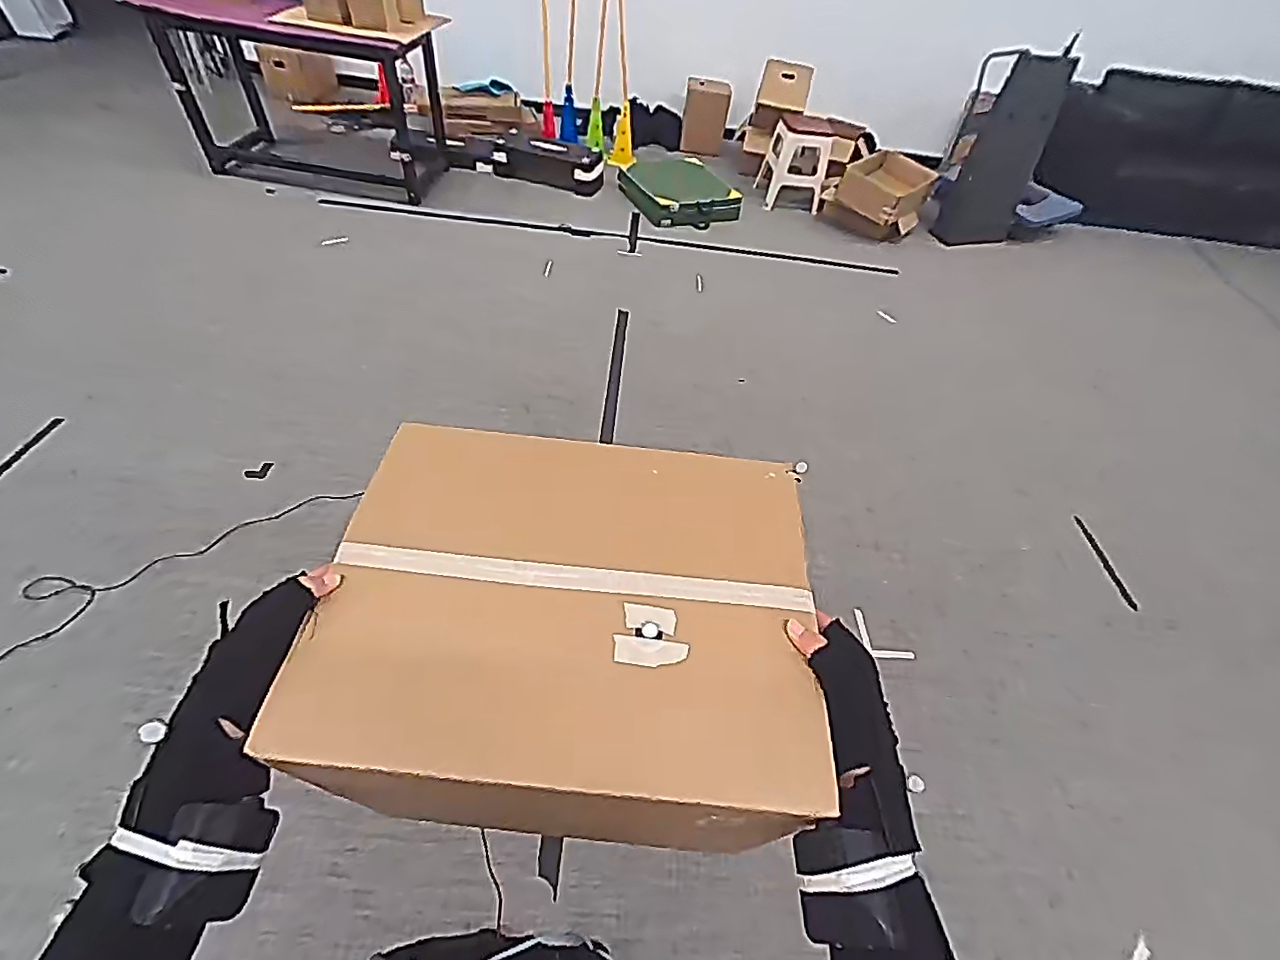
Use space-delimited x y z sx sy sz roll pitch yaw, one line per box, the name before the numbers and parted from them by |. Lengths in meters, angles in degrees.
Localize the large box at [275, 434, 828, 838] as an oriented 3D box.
large box | -0.065 0.180 0.590 0.408 0.320 0.320 6 52 -1
